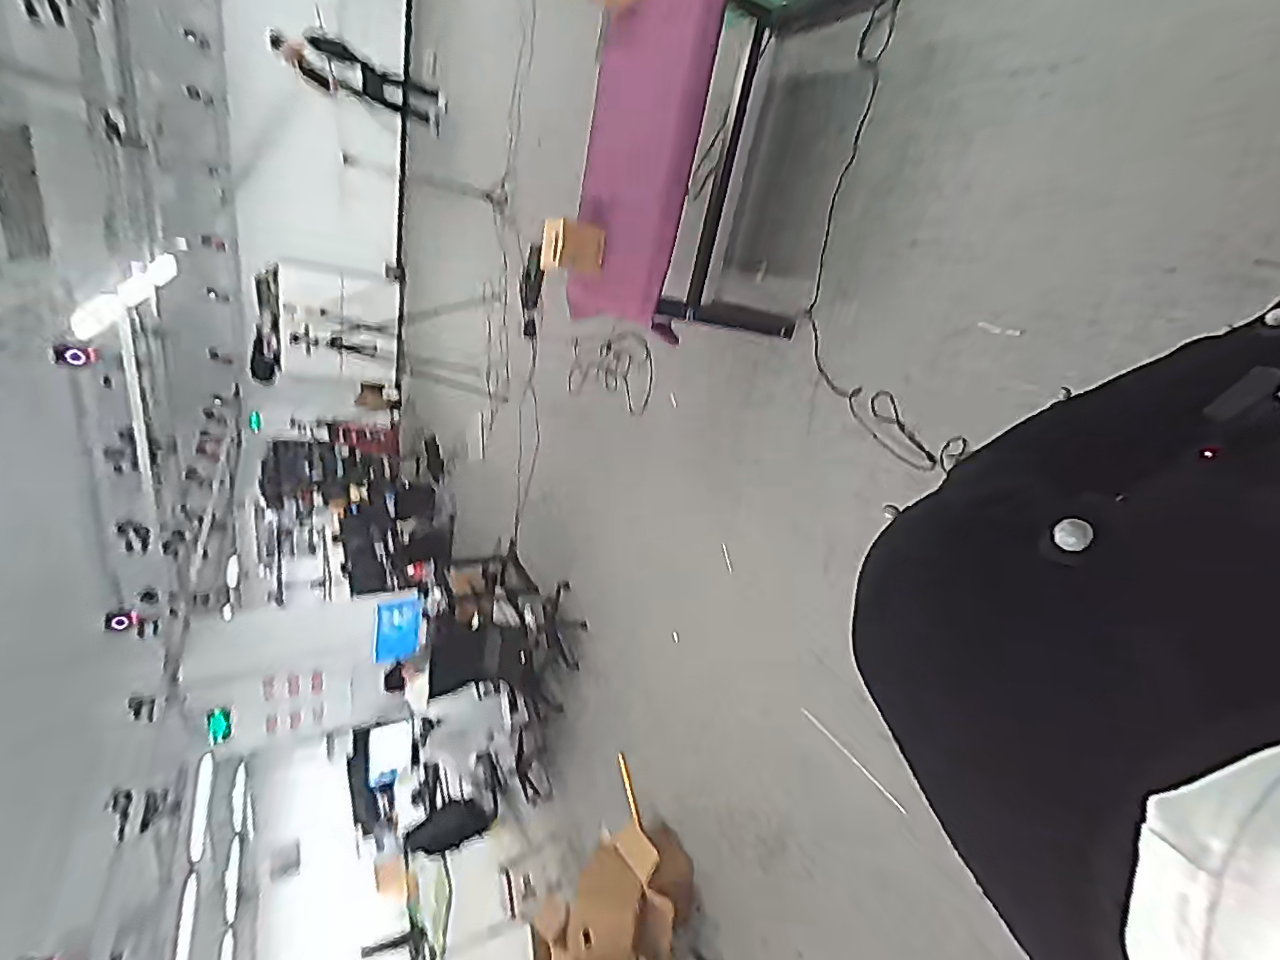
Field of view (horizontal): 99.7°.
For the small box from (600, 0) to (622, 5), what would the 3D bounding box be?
[{"bbox_3d":[-0.109,-1.625,1.683,0.179,0.176,0.168,41,127,48],"label":"small box"}]
